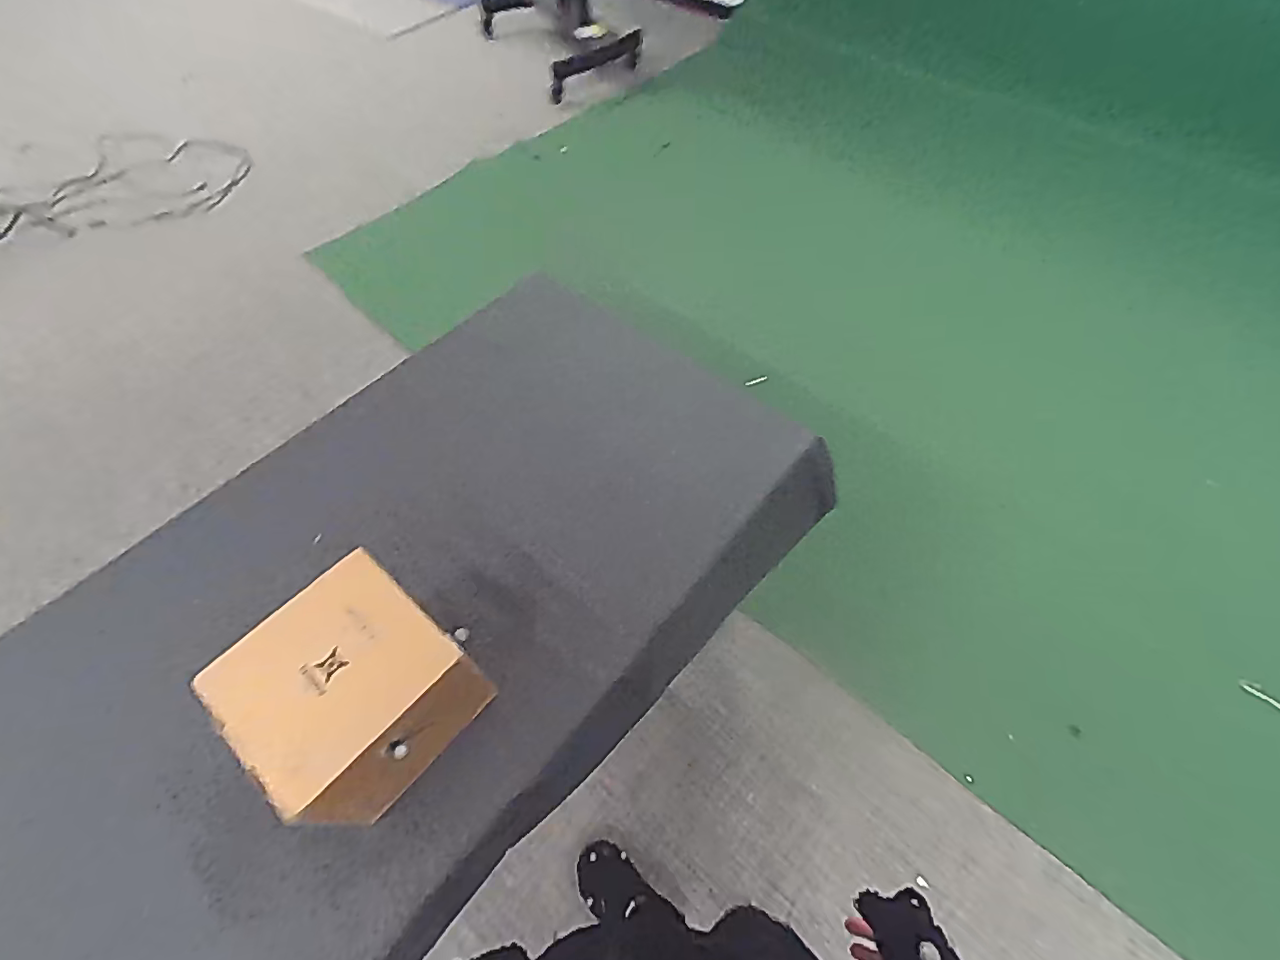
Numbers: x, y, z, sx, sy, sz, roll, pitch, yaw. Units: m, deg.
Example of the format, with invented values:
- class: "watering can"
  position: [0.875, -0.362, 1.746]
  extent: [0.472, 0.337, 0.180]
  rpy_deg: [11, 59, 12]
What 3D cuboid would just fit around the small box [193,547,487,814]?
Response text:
- class: "small box"
  position: [-0.286, 0.209, 0.558]
  extent: [0.168, 0.176, 0.179]
  rpy_deg: [37, 64, 18]
